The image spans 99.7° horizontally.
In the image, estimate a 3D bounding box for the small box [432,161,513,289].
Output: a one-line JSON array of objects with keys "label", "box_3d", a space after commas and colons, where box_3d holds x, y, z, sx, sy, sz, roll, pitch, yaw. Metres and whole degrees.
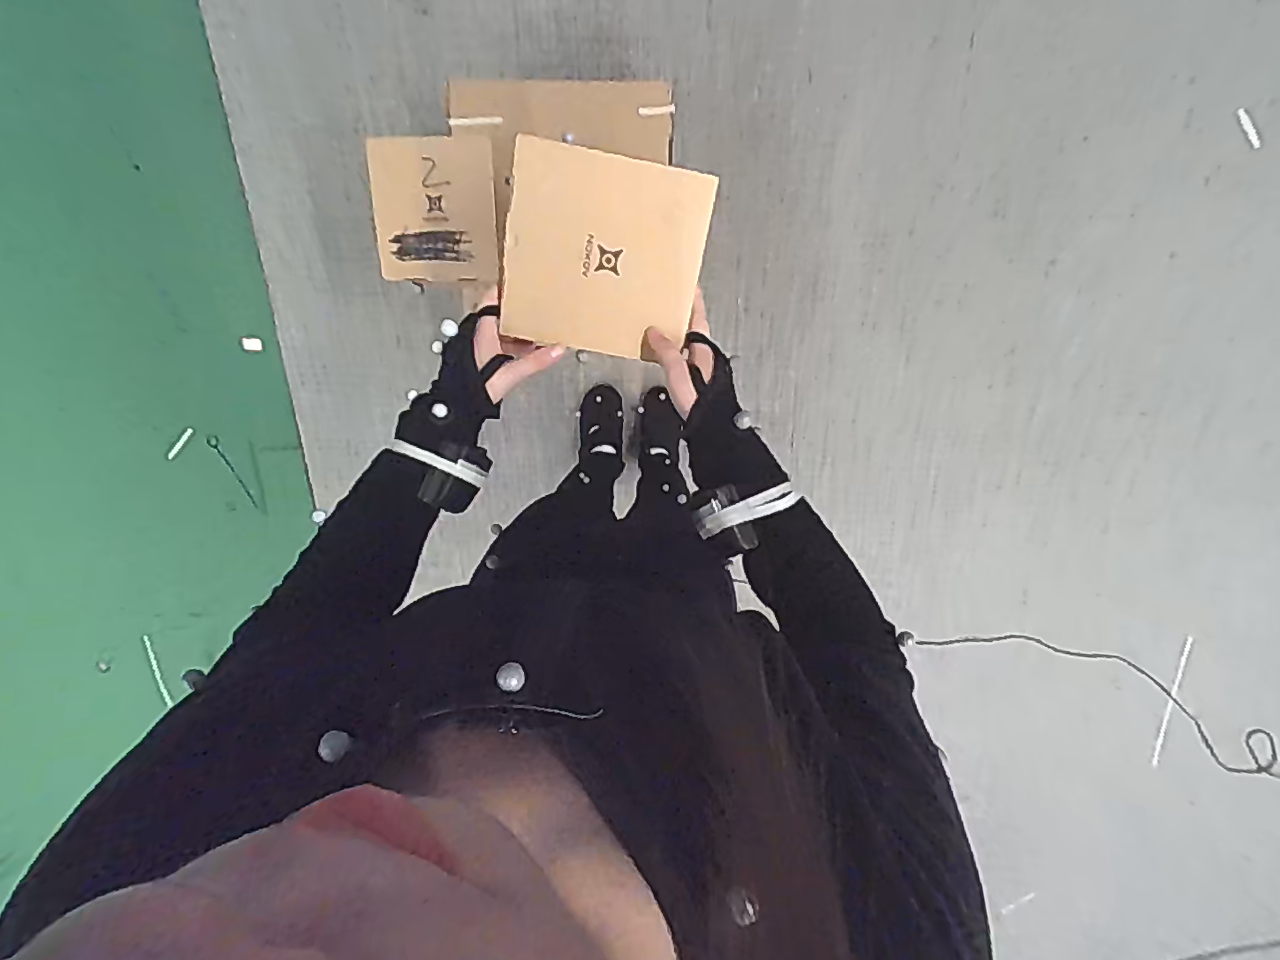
[{"label": "small box", "box_3d": [-0.250, -0.431, 0.944, 0.168, 0.176, 0.179, 5, 106, 1]}]

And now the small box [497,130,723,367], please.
[{"label": "small box", "box_3d": [-0.031, -0.224, 0.544, 0.179, 0.176, 0.168, 10, 111, -4]}]
